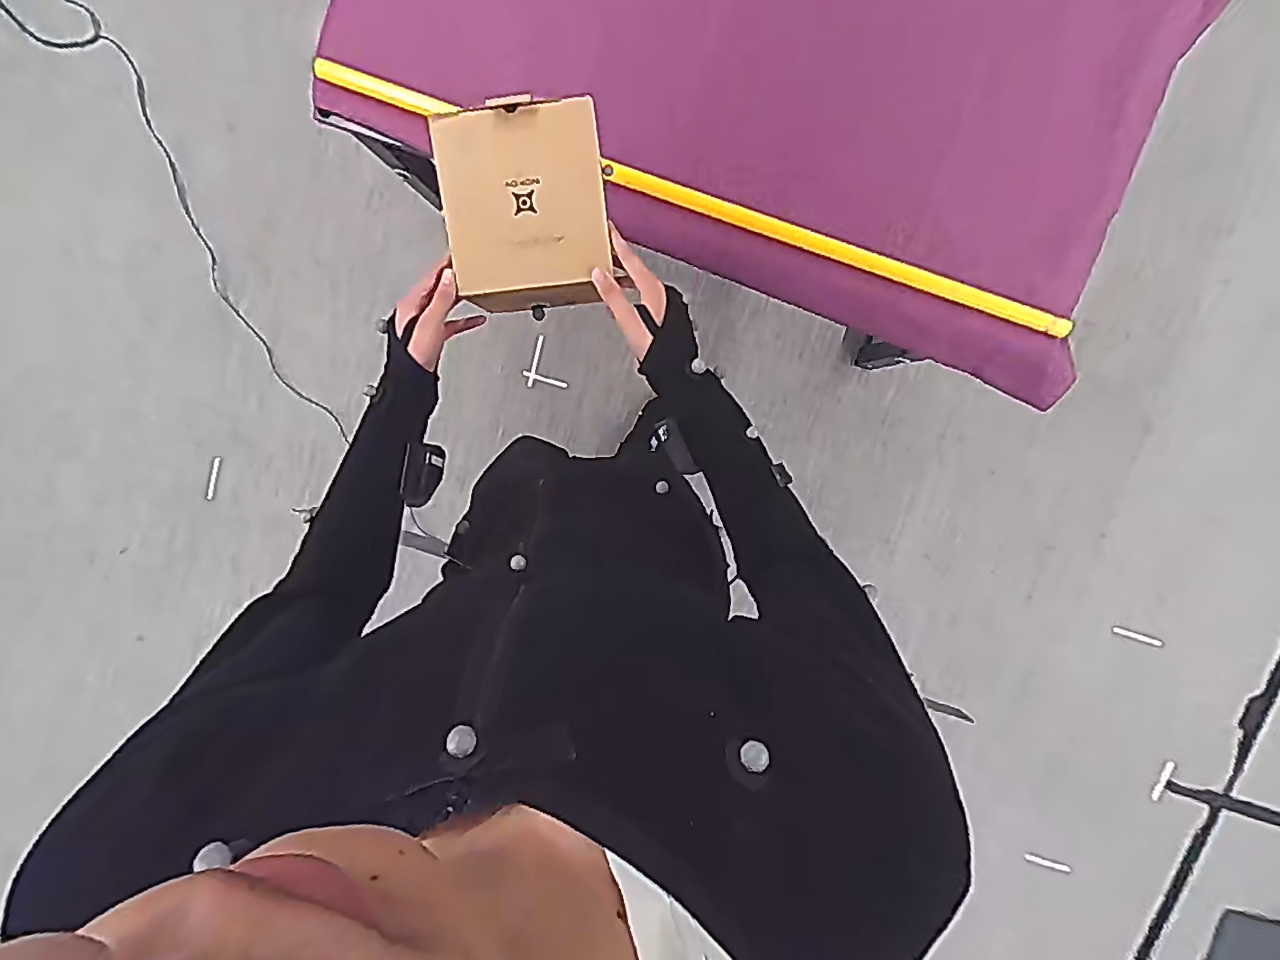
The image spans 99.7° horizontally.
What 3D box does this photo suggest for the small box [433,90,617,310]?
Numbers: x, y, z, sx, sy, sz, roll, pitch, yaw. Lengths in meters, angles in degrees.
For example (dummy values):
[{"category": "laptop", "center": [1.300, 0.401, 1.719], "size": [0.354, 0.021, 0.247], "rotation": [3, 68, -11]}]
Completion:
[{"category": "small box", "center": [-0.117, -0.303, 0.620], "size": [0.168, 0.176, 0.179], "rotation": [-7, 100, -1]}]
